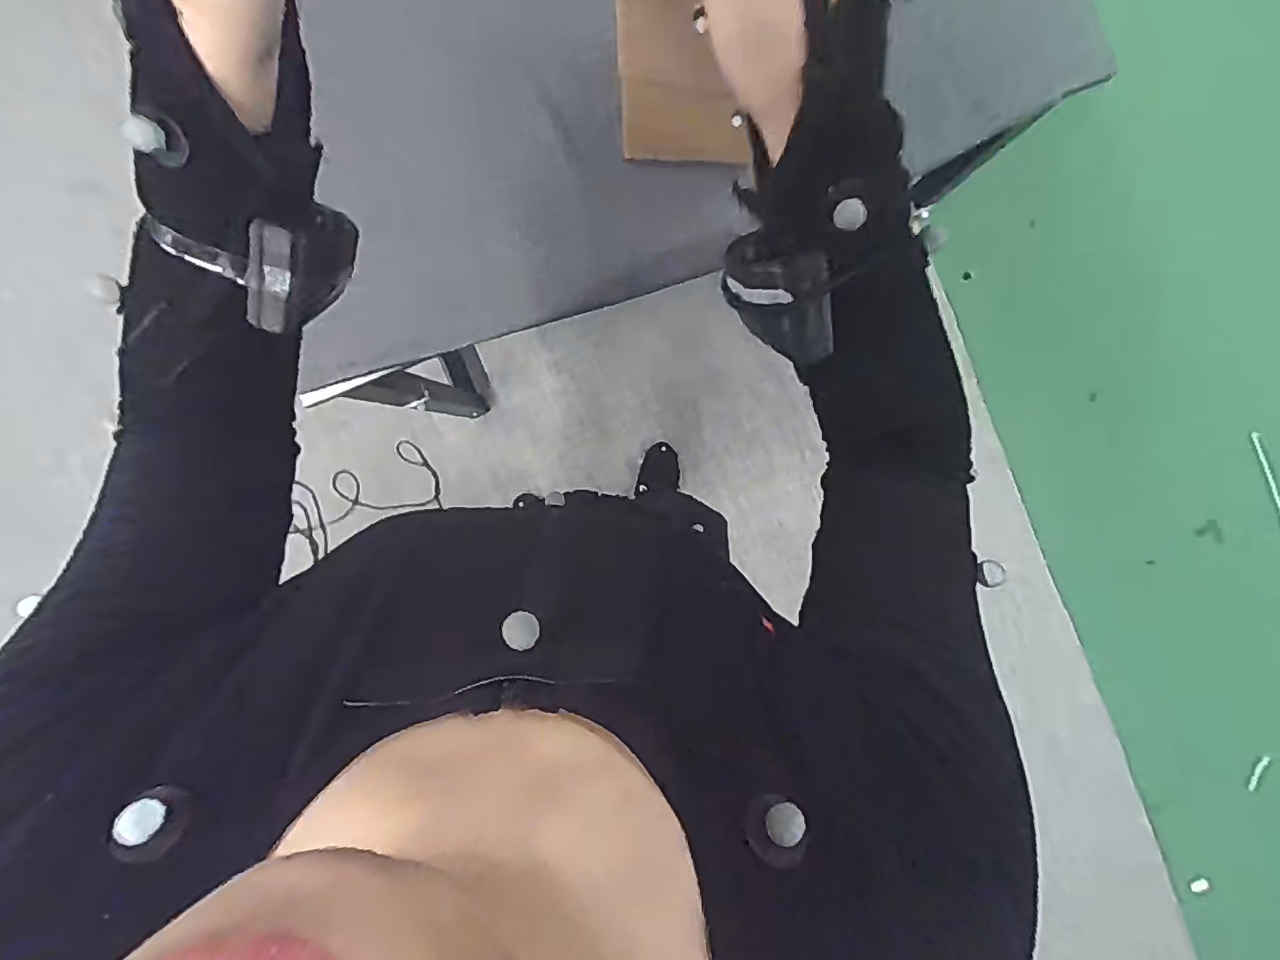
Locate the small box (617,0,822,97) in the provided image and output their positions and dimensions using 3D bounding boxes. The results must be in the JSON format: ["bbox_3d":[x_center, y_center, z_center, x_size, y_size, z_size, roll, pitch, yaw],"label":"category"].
[{"bbox_3d":[0.077,-0.486,0.485,0.179,0.176,0.168,9,92,0],"label":"small box"}]
